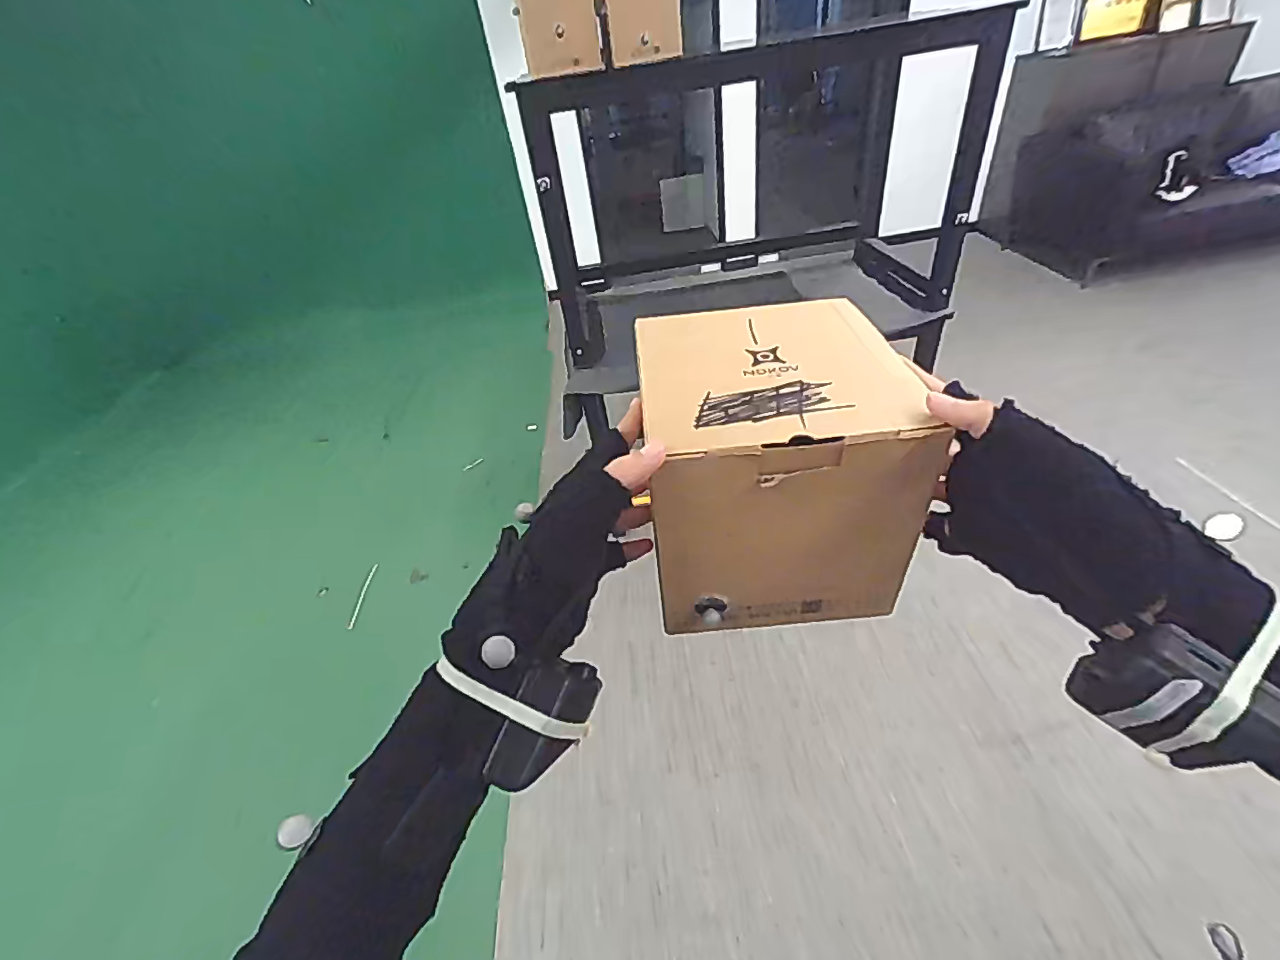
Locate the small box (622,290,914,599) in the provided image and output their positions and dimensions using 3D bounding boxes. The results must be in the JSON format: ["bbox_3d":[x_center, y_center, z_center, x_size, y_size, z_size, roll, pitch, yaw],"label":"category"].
[{"bbox_3d":[0.078,-0.024,0.413,0.168,0.176,0.179,-6,39,2],"label":"small box"}]

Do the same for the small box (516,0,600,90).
[{"bbox_3d":[-0.197,-1.062,1.313,0.168,0.176,0.179,-12,38,-6],"label":"small box"}]
